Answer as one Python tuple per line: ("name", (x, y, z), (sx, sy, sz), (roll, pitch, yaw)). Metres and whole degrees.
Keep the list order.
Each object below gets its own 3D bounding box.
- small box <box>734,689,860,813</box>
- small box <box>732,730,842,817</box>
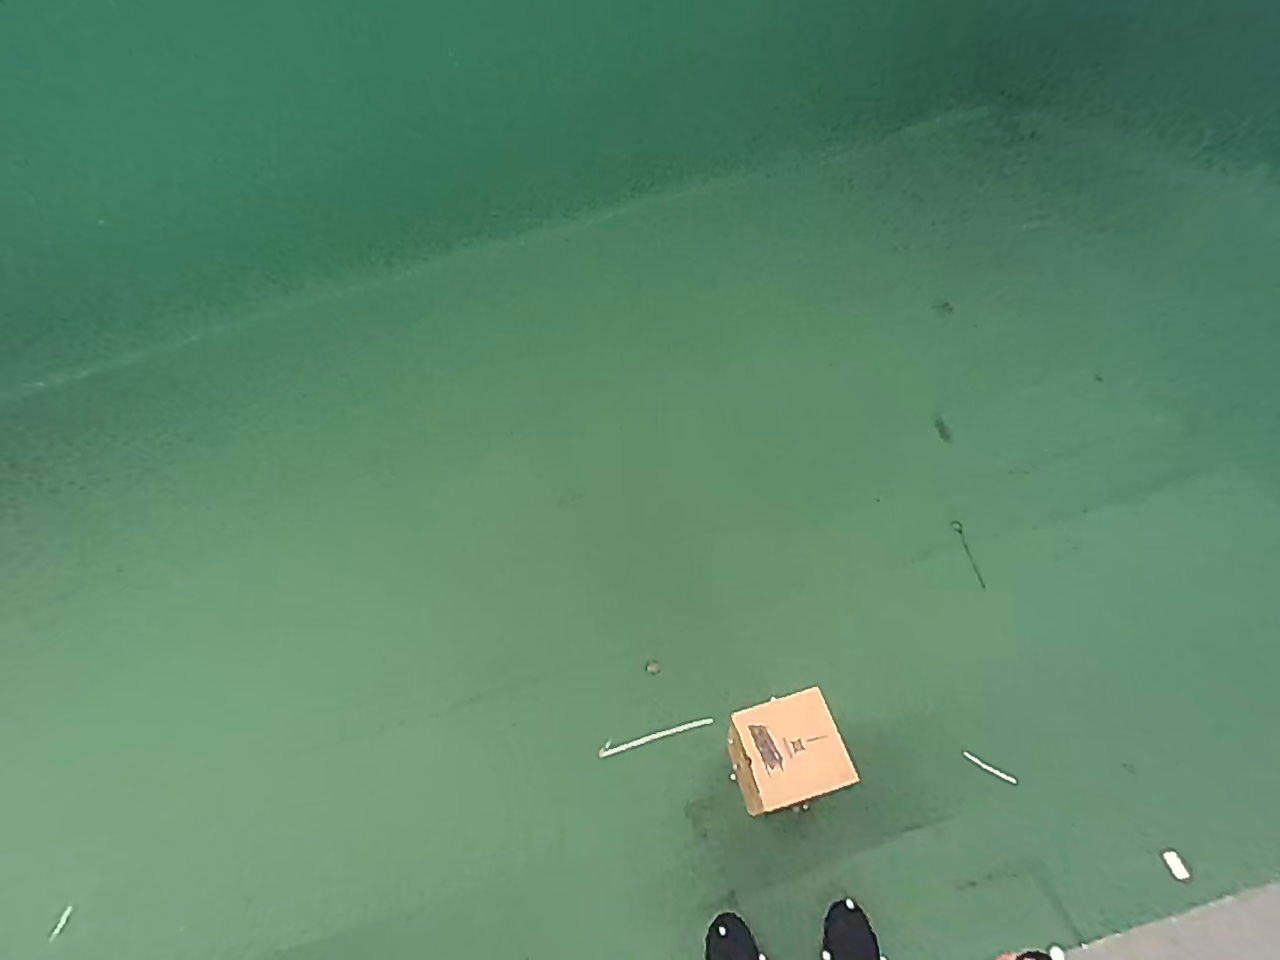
("small box", (0.288, 0.522, 1.033), (0.179, 0.176, 0.168), (-16, 57, -3))
("small box", (0.307, 0.612, 1.169), (0.179, 0.176, 0.168), (-16, 57, -2))
